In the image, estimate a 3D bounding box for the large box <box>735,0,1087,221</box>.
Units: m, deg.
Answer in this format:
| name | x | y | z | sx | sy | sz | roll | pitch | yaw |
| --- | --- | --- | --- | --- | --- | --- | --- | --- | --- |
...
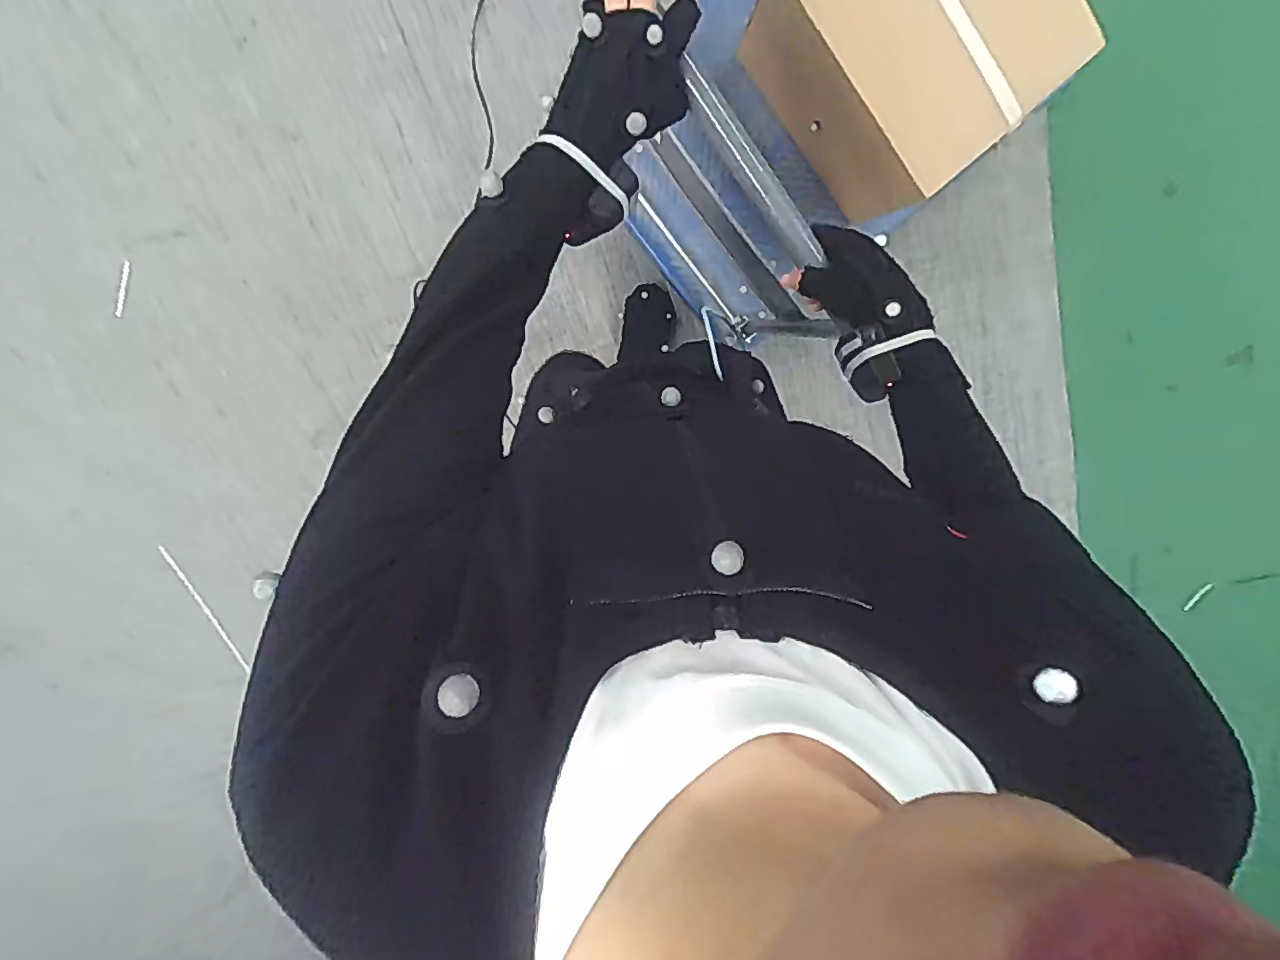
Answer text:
| name | x | y | z | sx | sy | sz | roll | pitch | yaw |
| --- | --- | --- | --- | --- | --- | --- | --- | --- | --- |
| large box | 0.426 | -0.733 | 0.933 | 0.320 | 0.320 | 0.408 | -40 | 104 | 11 |
